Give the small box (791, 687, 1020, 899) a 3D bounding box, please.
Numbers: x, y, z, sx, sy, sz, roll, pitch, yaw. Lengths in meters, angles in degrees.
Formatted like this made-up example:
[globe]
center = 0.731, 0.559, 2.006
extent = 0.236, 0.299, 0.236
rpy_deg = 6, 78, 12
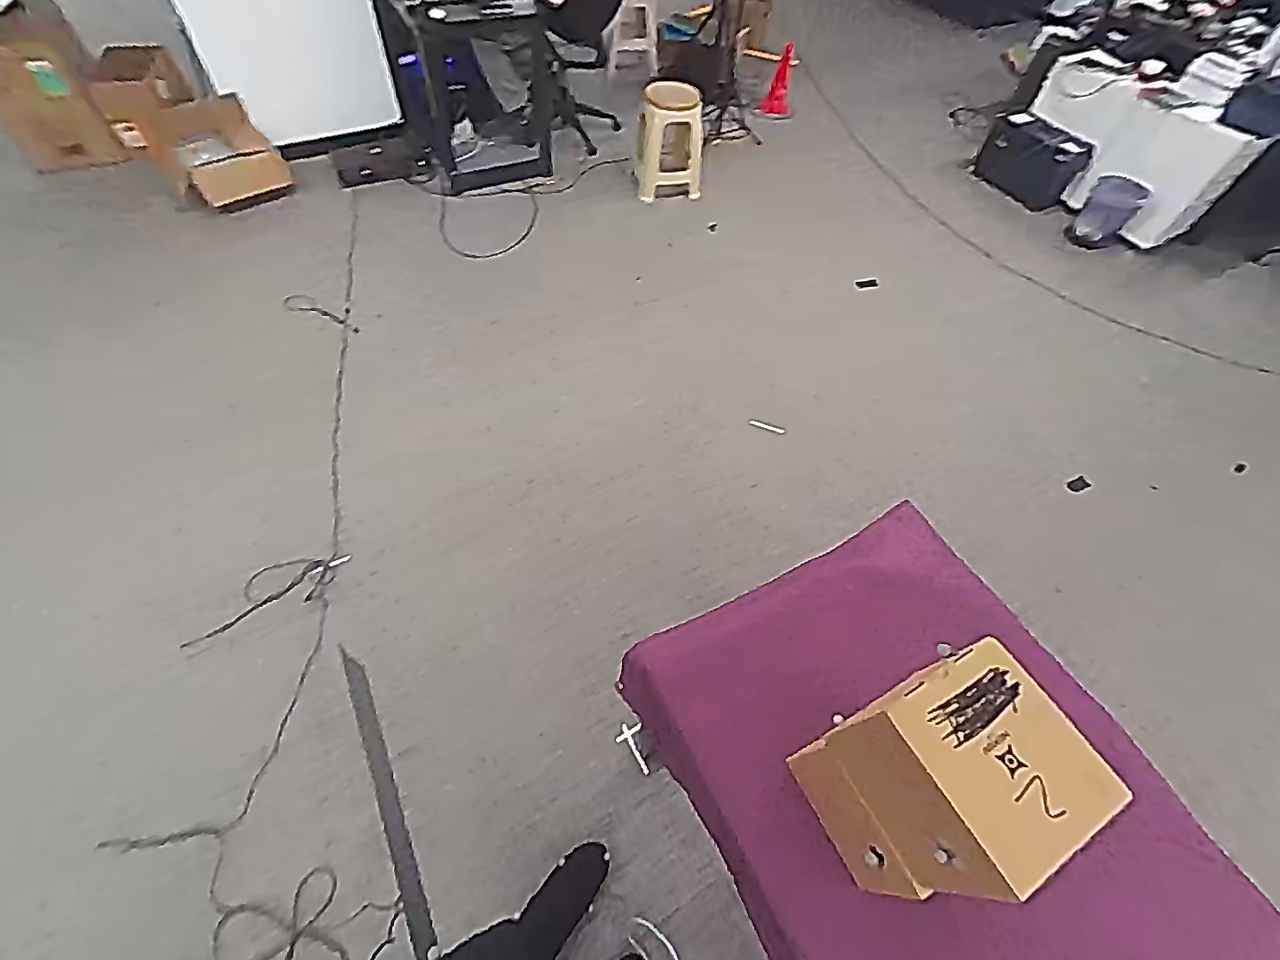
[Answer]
[small box]
center = 0.331, 0.405, 0.713
extent = 0.168, 0.176, 0.179
rpy_deg = -20, 61, -18
